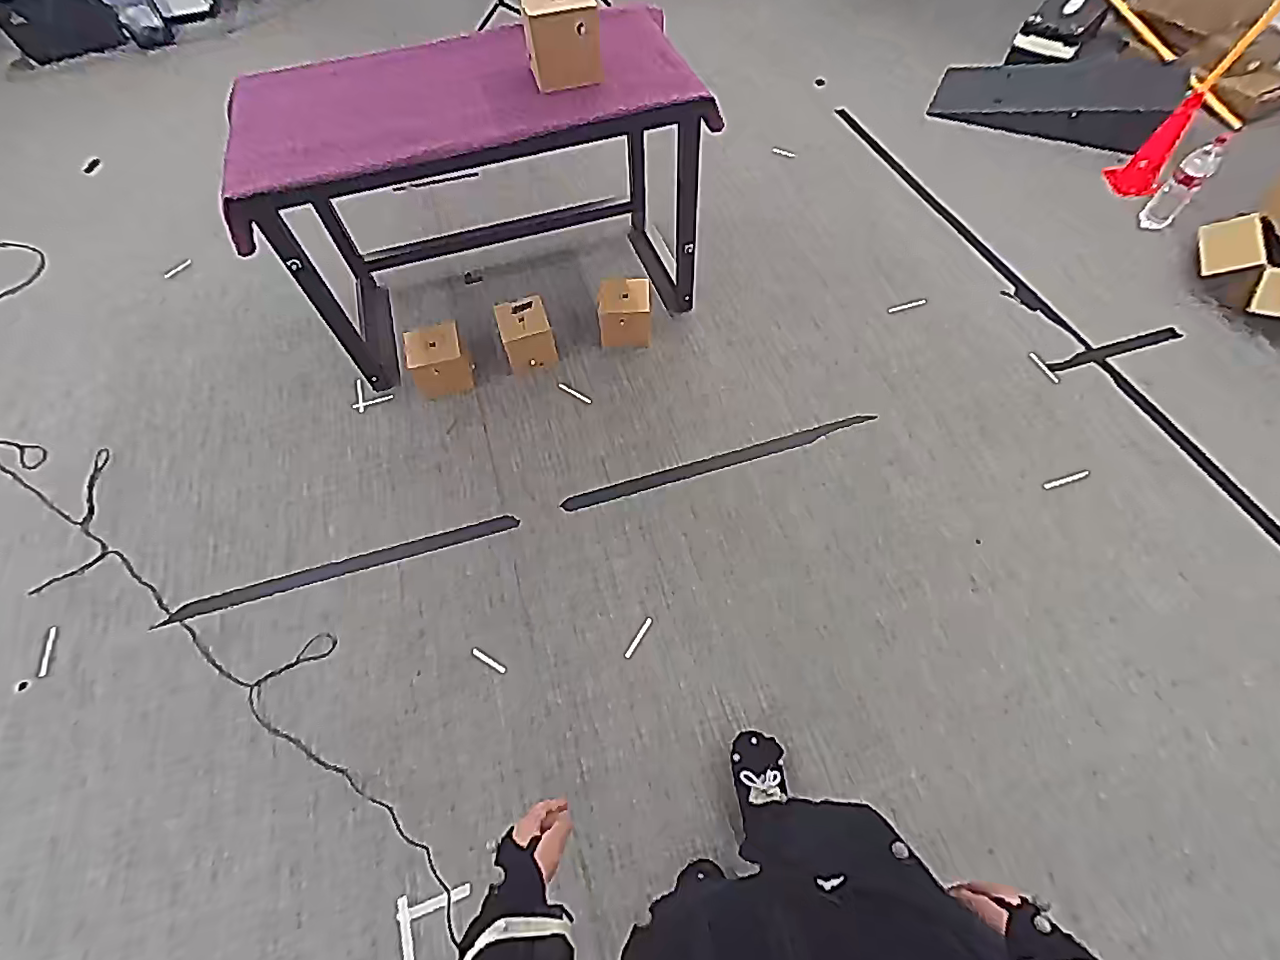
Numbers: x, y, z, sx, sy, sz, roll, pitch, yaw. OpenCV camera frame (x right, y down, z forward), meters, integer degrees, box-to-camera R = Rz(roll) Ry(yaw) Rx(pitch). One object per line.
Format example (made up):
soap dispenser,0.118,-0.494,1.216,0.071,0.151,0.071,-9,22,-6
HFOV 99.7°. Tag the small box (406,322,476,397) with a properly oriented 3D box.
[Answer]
small box,-0.677,-0.404,1.843,0.179,0.176,0.168,-14,61,-6

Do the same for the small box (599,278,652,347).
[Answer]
small box,-0.047,-0.592,1.920,0.179,0.176,0.168,-2,61,3

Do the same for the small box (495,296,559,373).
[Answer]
small box,-0.391,-0.506,1.885,0.168,0.176,0.179,-17,62,-7

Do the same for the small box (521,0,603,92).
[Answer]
small box,-0.199,-1.149,1.404,0.179,0.176,0.168,-15,60,-5
